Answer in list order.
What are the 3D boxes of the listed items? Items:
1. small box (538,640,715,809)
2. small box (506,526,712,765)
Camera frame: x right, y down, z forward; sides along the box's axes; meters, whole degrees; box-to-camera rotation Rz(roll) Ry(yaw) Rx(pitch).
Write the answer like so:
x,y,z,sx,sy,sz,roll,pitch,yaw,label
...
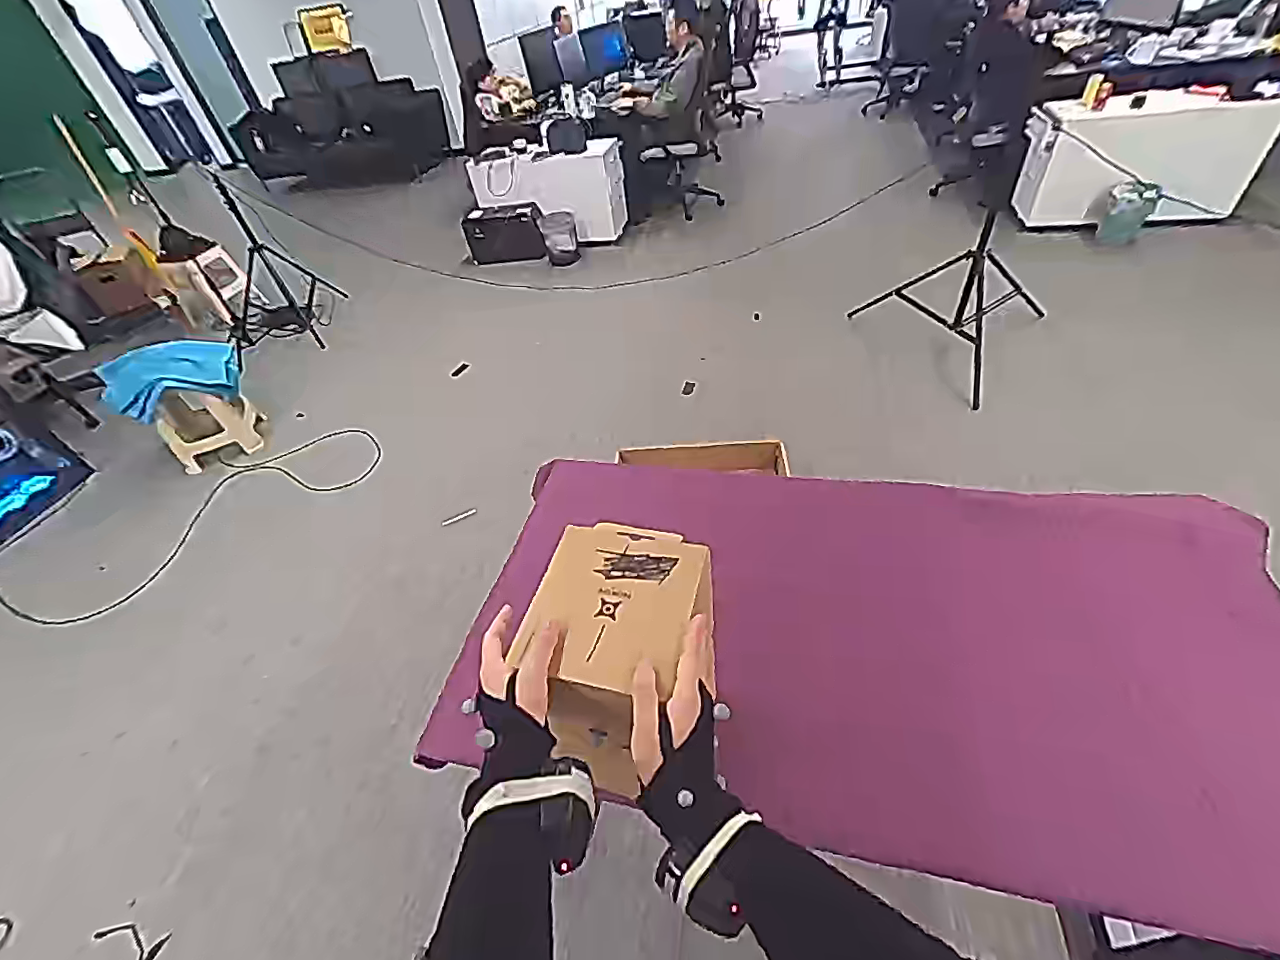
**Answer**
x,y,z,sx,sy,sz,roll,pitch,yaw,label
-0.003,0.300,0.702,0.179,0.176,0.168,8,46,17,small box
-0.017,0.179,0.594,0.168,0.176,0.179,7,48,17,small box
